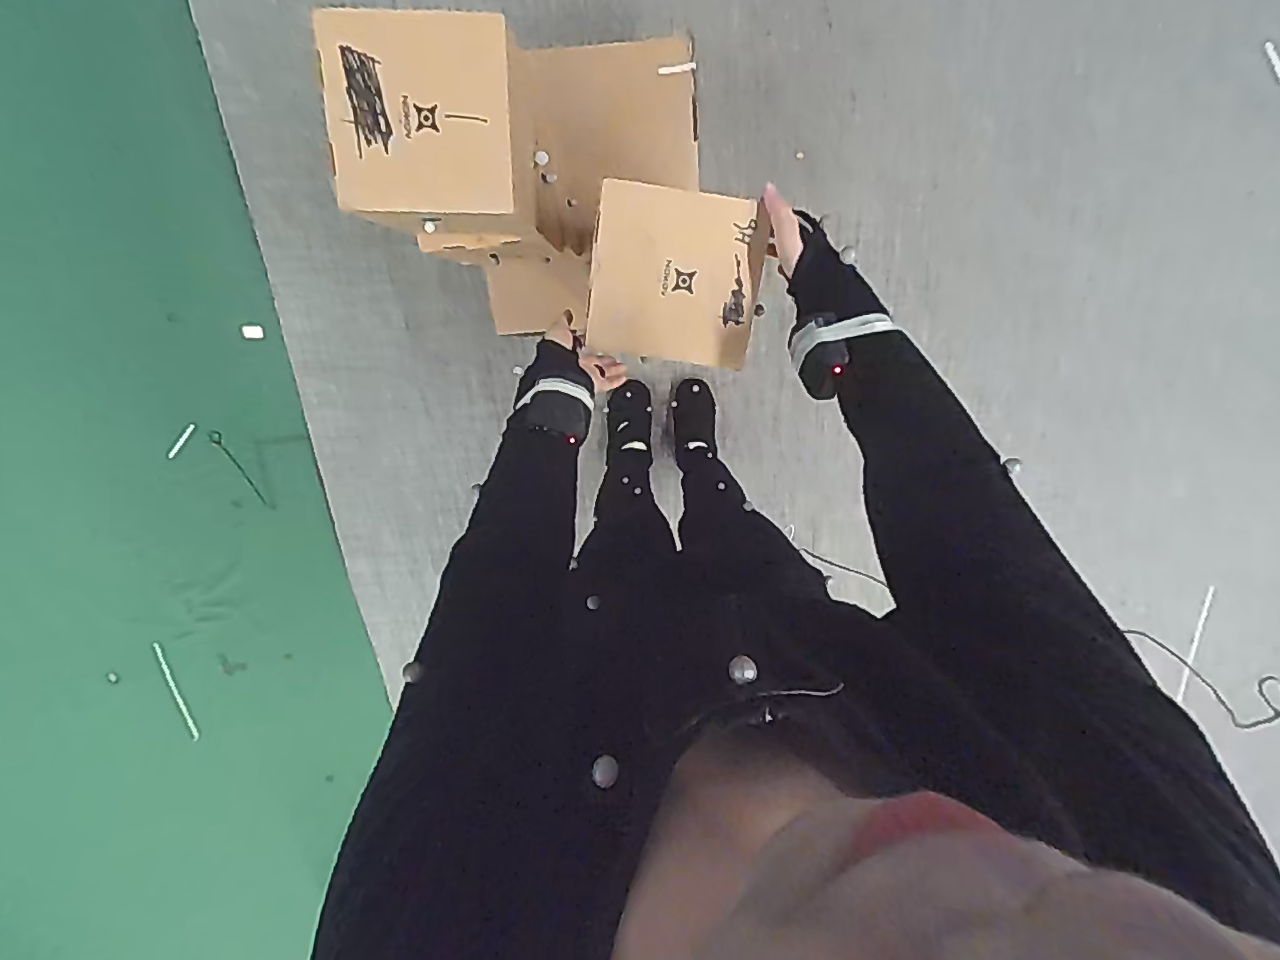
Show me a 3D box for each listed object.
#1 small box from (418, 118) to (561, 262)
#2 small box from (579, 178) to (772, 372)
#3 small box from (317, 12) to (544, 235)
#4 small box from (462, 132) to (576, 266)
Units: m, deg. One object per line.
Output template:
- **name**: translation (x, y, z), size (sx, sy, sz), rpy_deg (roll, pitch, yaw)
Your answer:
- **small box**: translation (-0.208, -0.407, 0.747), size (0.168, 0.176, 0.179), rpy_deg (-3, 108, 1)
- **small box**: translation (0.034, -0.230, 0.630), size (0.179, 0.176, 0.168), rpy_deg (9, 108, -2)
- **small box**: translation (-0.208, -0.366, 0.587), size (0.179, 0.176, 0.168), rpy_deg (1, 108, 0)
- **small box**: translation (-0.204, -0.457, 0.902), size (0.179, 0.176, 0.168), rpy_deg (-5, 106, 2)
